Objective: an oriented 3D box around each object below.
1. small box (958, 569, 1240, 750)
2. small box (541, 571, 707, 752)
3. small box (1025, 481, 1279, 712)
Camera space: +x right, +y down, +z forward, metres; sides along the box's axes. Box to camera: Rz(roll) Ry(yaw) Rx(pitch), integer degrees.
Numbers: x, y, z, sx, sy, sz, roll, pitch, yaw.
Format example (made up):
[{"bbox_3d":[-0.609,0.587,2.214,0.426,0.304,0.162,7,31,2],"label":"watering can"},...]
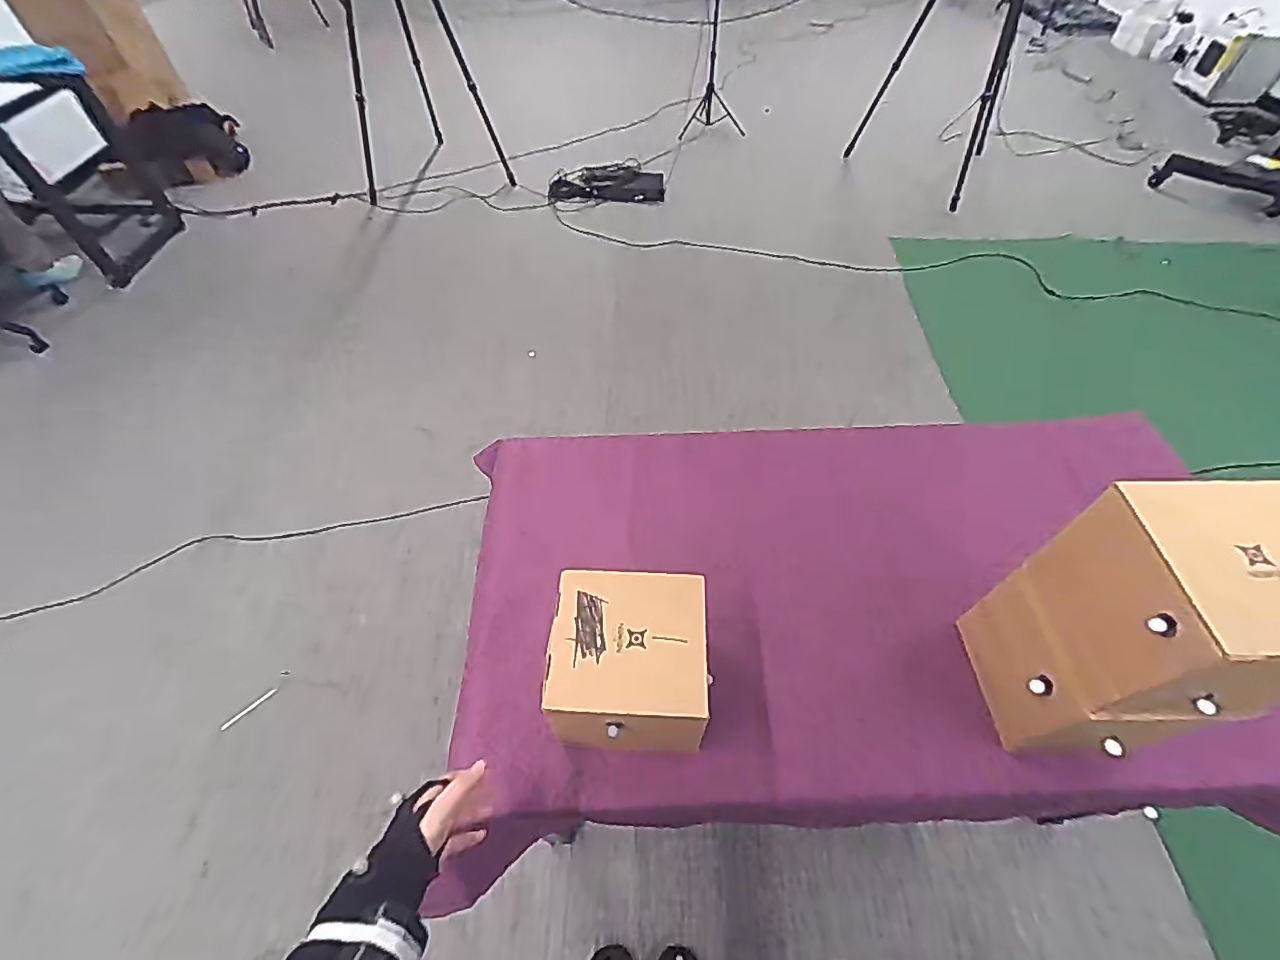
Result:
[{"bbox_3d":[0.534,0.224,0.667,0.168,0.176,0.179,0,52,0],"label":"small box"},{"bbox_3d":[-0.013,0.228,0.669,0.179,0.176,0.168,3,52,1],"label":"small box"},{"bbox_3d":[0.538,0.119,0.541,0.168,0.176,0.179,0,54,0],"label":"small box"}]
